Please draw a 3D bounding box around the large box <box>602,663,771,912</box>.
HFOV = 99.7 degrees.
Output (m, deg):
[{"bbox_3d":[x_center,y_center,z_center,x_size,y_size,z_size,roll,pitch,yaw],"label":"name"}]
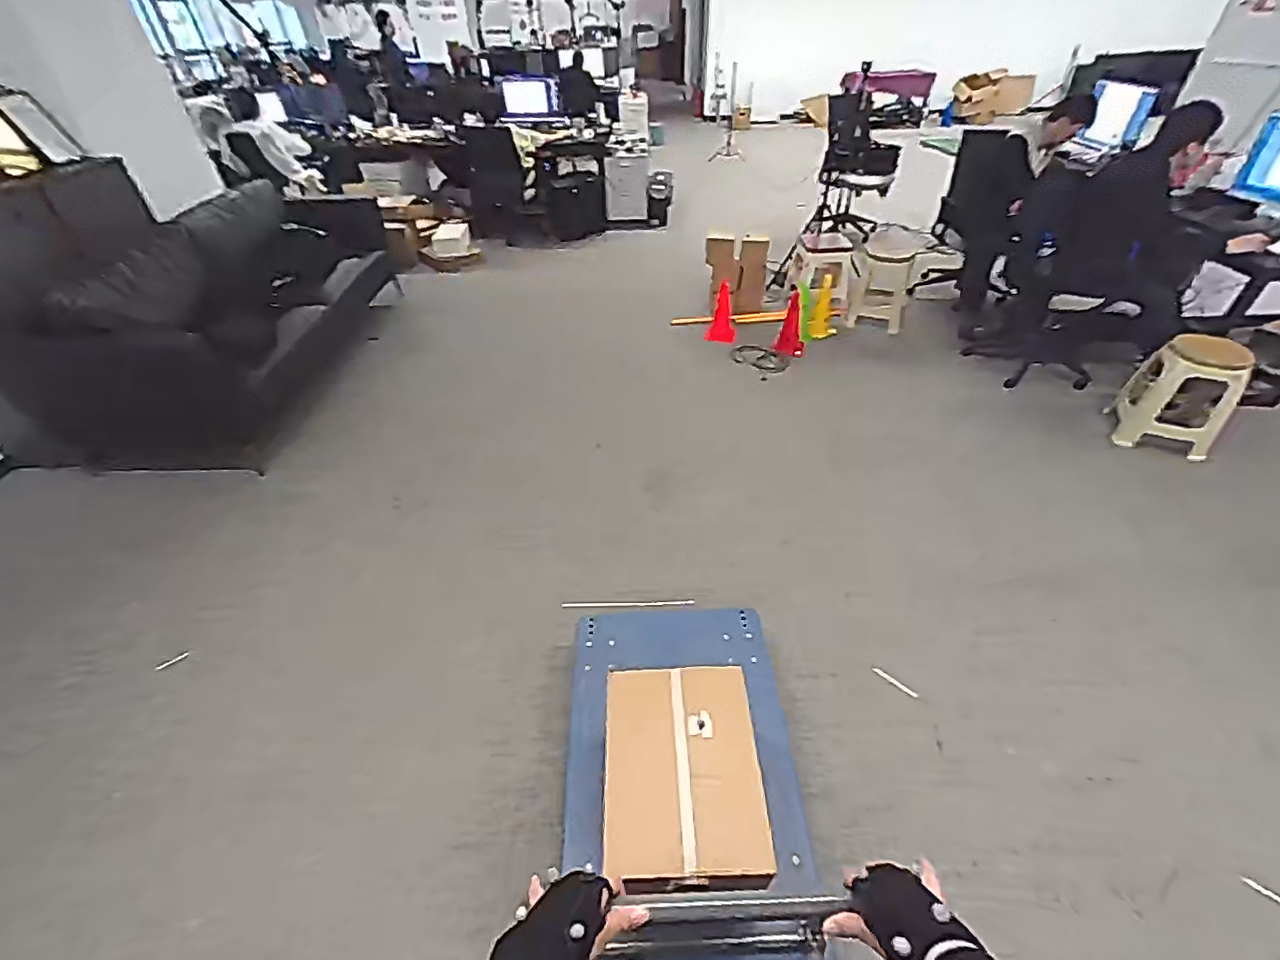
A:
[{"bbox_3d":[0.085,0.682,1.220,0.320,0.320,0.408,-2,40,0],"label":"large box"}]
